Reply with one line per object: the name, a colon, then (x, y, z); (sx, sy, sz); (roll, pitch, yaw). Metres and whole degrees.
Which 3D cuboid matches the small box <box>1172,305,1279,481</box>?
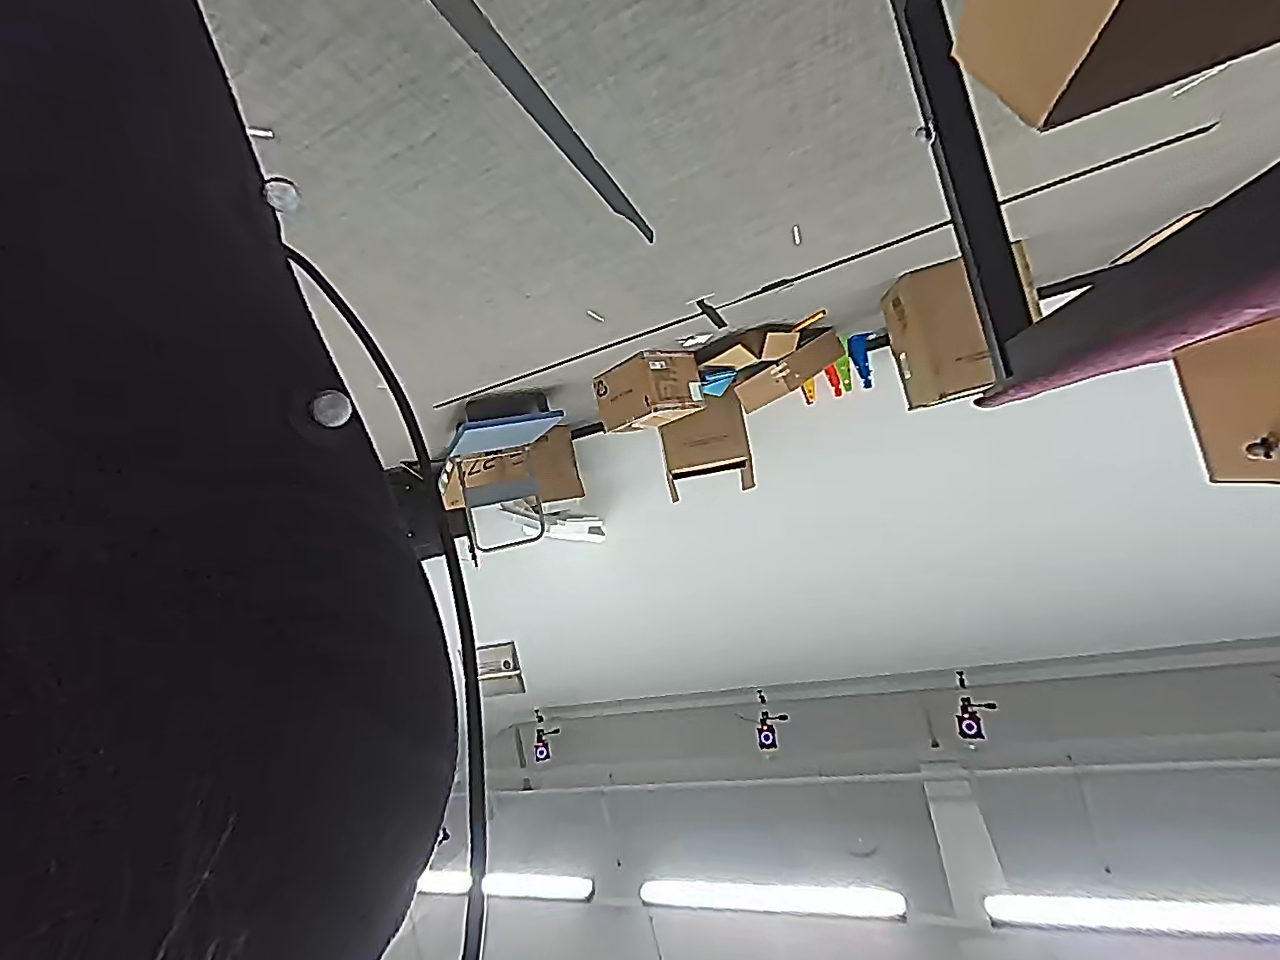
small box: (0.704, -0.101, 0.552); (0.168, 0.176, 0.179); (-15, 177, 14)
